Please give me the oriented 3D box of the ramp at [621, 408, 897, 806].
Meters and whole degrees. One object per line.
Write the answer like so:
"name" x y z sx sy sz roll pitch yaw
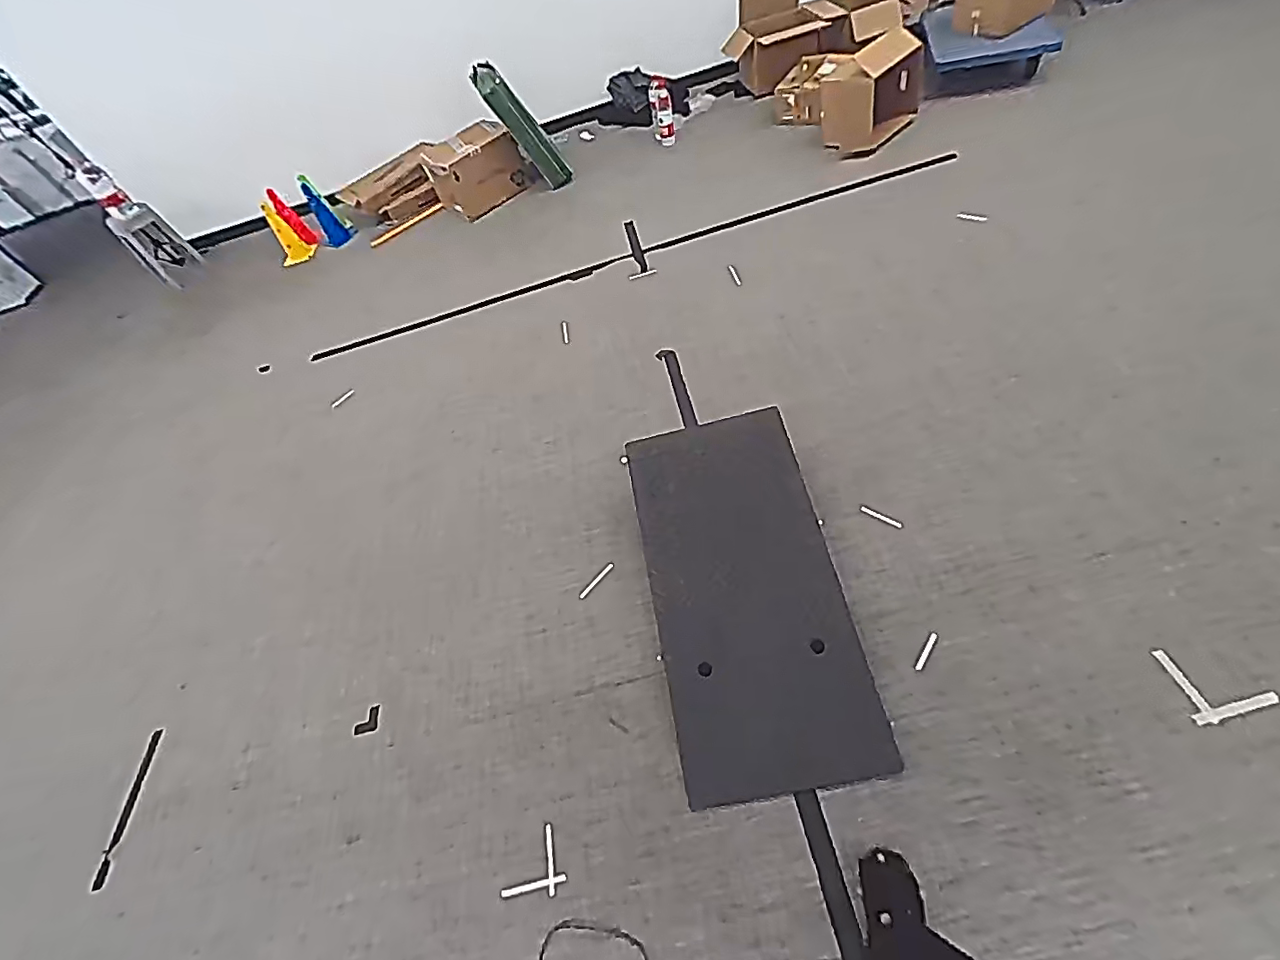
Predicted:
"ramp" 0.263 0.266 1.457 0.509 0.206 0.991 -15 52 3
